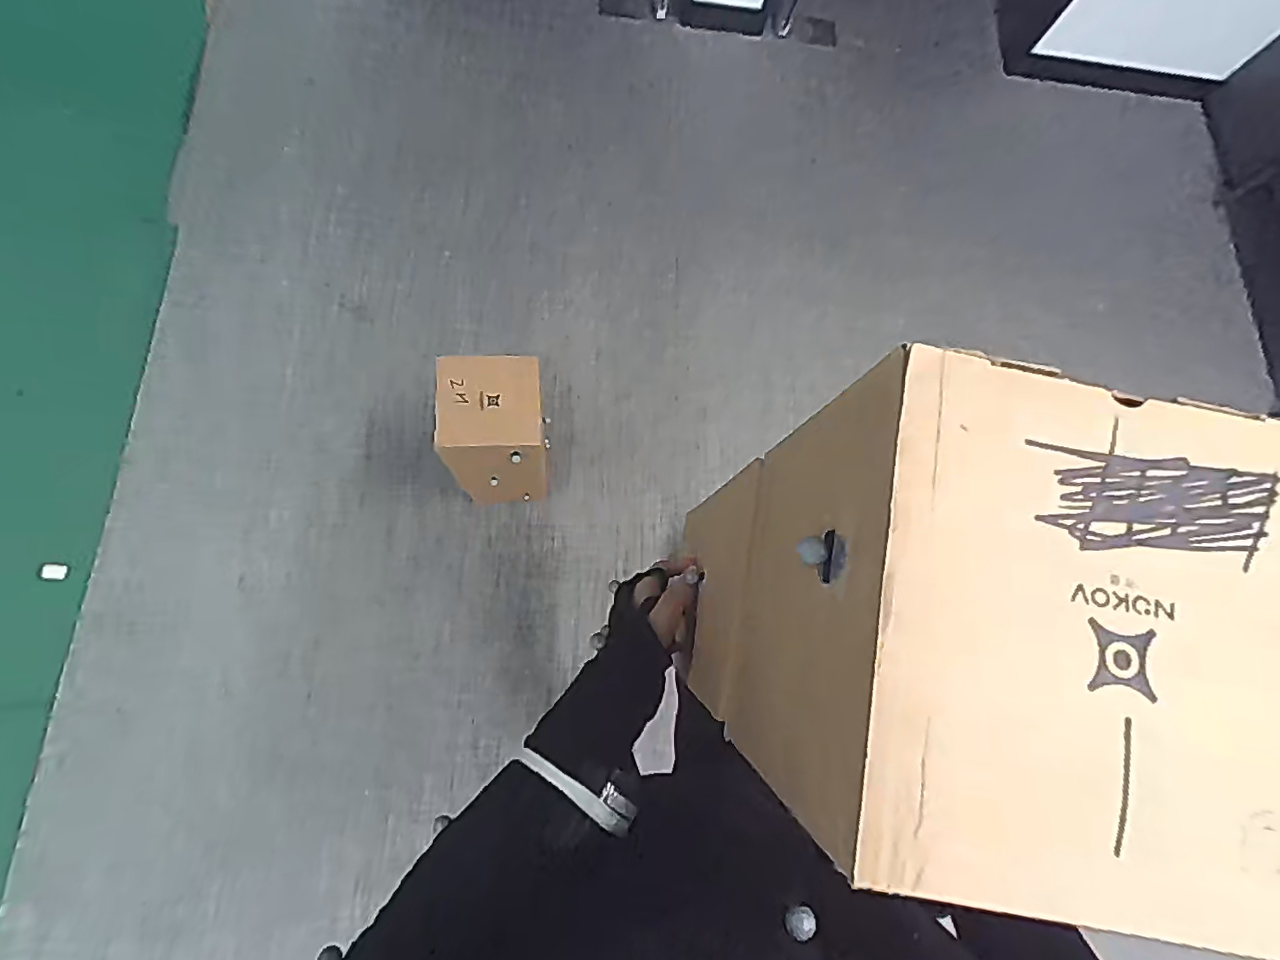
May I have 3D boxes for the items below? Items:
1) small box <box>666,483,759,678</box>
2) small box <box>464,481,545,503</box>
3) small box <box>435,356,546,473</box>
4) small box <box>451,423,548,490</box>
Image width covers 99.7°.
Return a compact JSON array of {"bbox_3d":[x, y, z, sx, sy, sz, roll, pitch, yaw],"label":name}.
[{"bbox_3d":[0.128,0.117,0.586,0.168,0.176,0.179,12,78,-3],"label":"small box"},{"bbox_3d":[-0.320,-0.042,1.309,0.179,0.176,0.168,-2,76,-7],"label":"small box"},{"bbox_3d":[-0.264,-0.114,0.991,0.179,0.176,0.168,-2,75,-7],"label":"small box"},{"bbox_3d":[-0.292,-0.077,1.150,0.179,0.176,0.168,-3,77,-7],"label":"small box"}]
